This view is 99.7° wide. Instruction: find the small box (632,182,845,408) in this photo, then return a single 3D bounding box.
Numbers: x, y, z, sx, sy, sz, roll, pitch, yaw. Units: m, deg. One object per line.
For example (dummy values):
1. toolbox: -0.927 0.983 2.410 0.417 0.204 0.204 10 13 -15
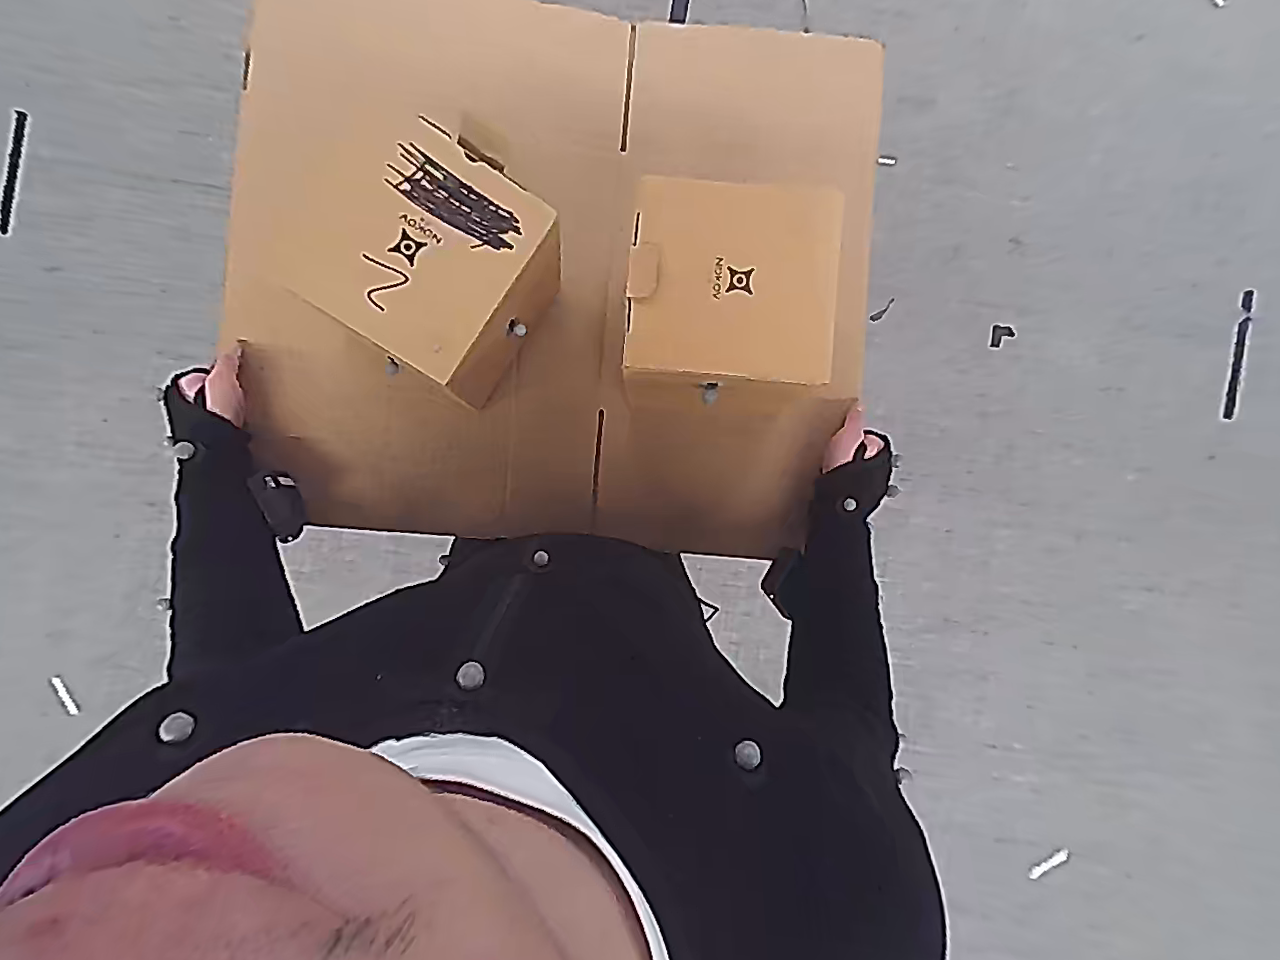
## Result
1. small box: 0.087 -0.170 0.550 0.179 0.176 0.168 5 89 1
